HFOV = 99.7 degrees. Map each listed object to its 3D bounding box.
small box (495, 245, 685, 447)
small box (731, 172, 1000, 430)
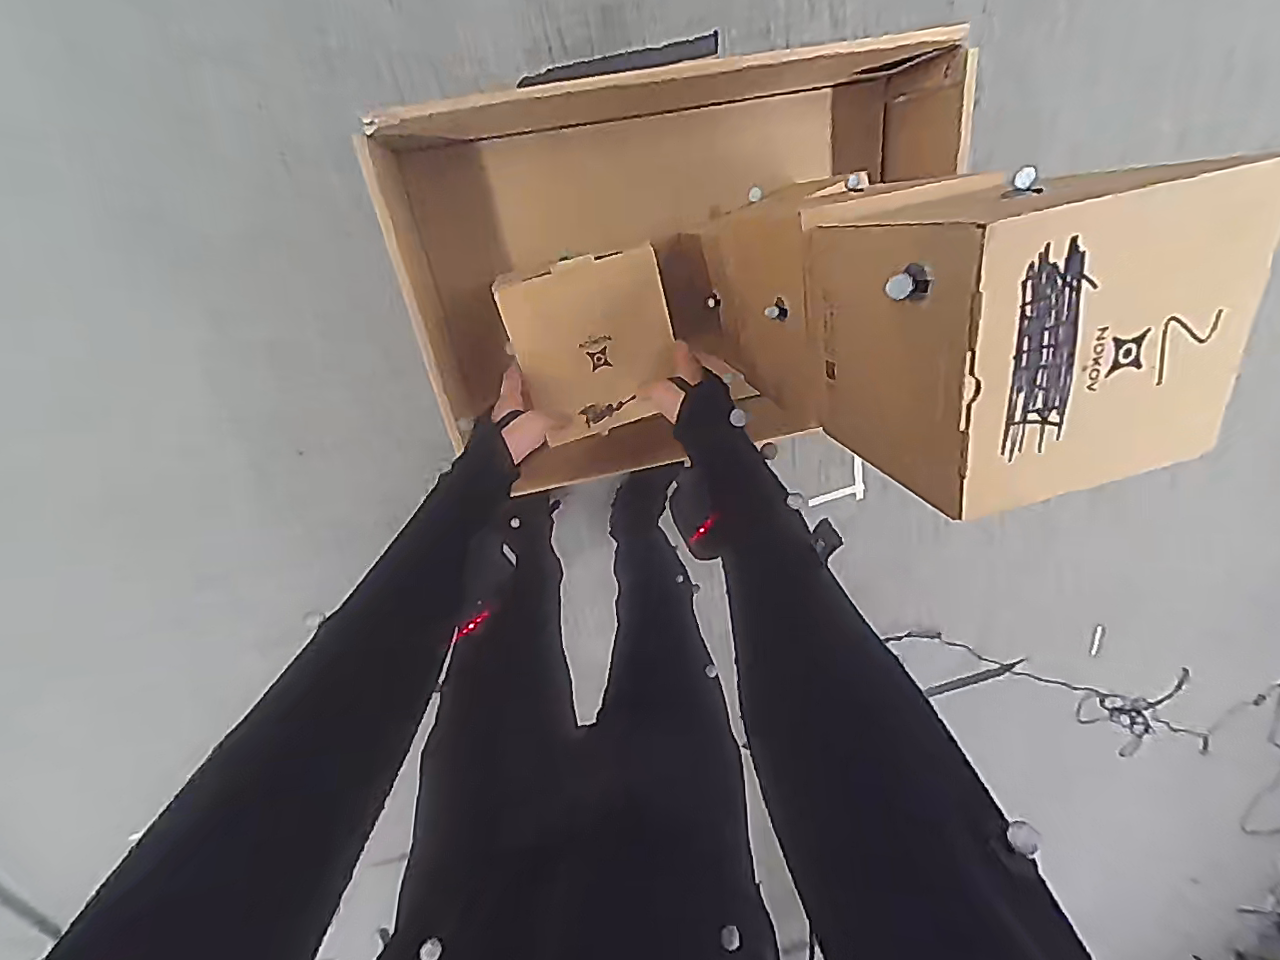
[{"bbox_3d":[-0.062,-0.164,0.636,0.168,0.176,0.179,-18,116,-4],"label":"small box"},{"bbox_3d":[0.192,-0.169,0.507,0.168,0.176,0.179,-13,117,-4],"label":"small box"}]
